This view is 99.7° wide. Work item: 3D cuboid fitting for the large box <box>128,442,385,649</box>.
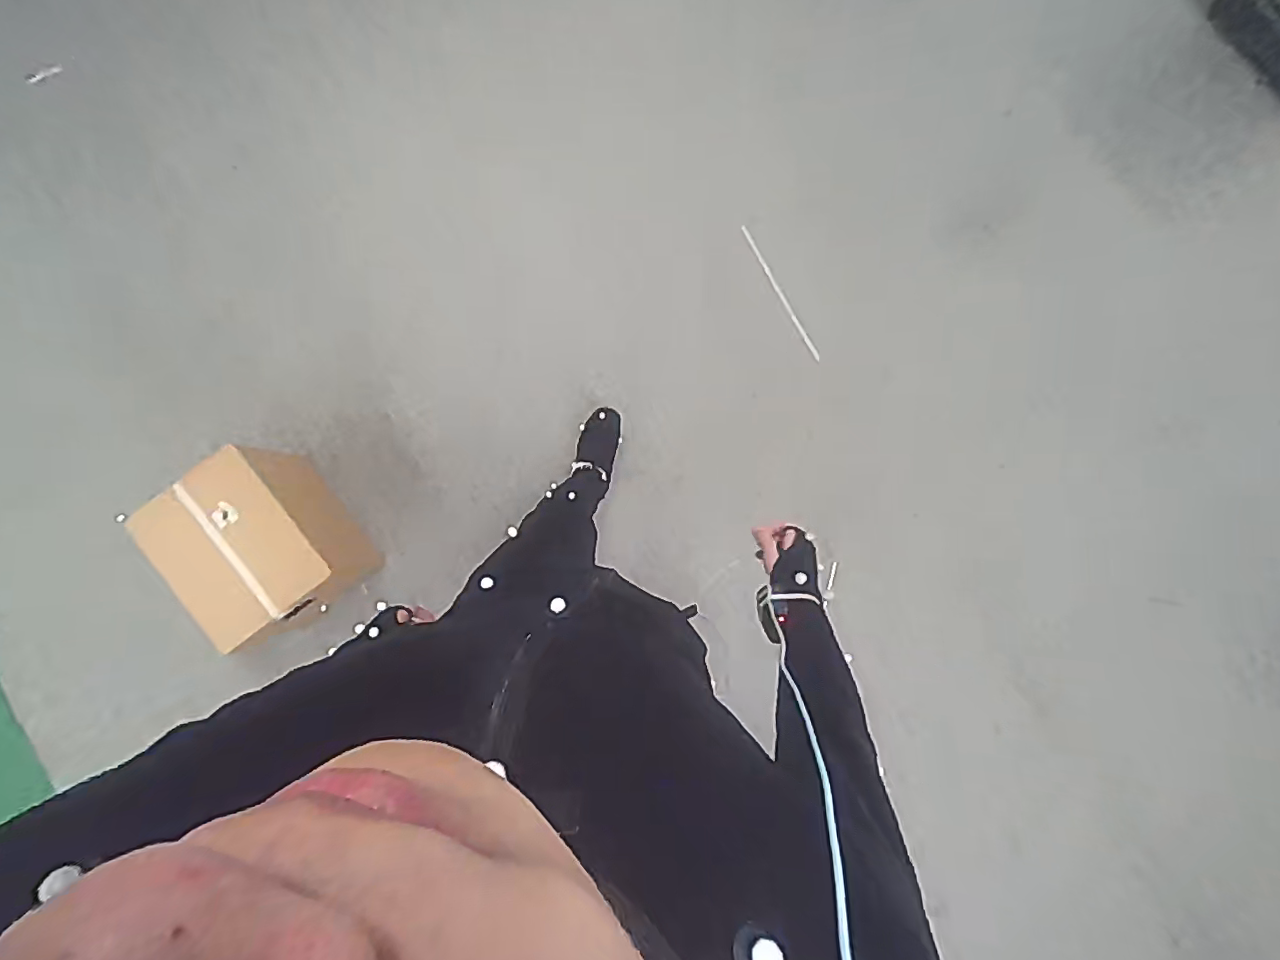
[{"bbox_3d":[-0.974,0.162,1.426,0.320,0.320,0.408,-38,88,-4],"label":"large box"}]
